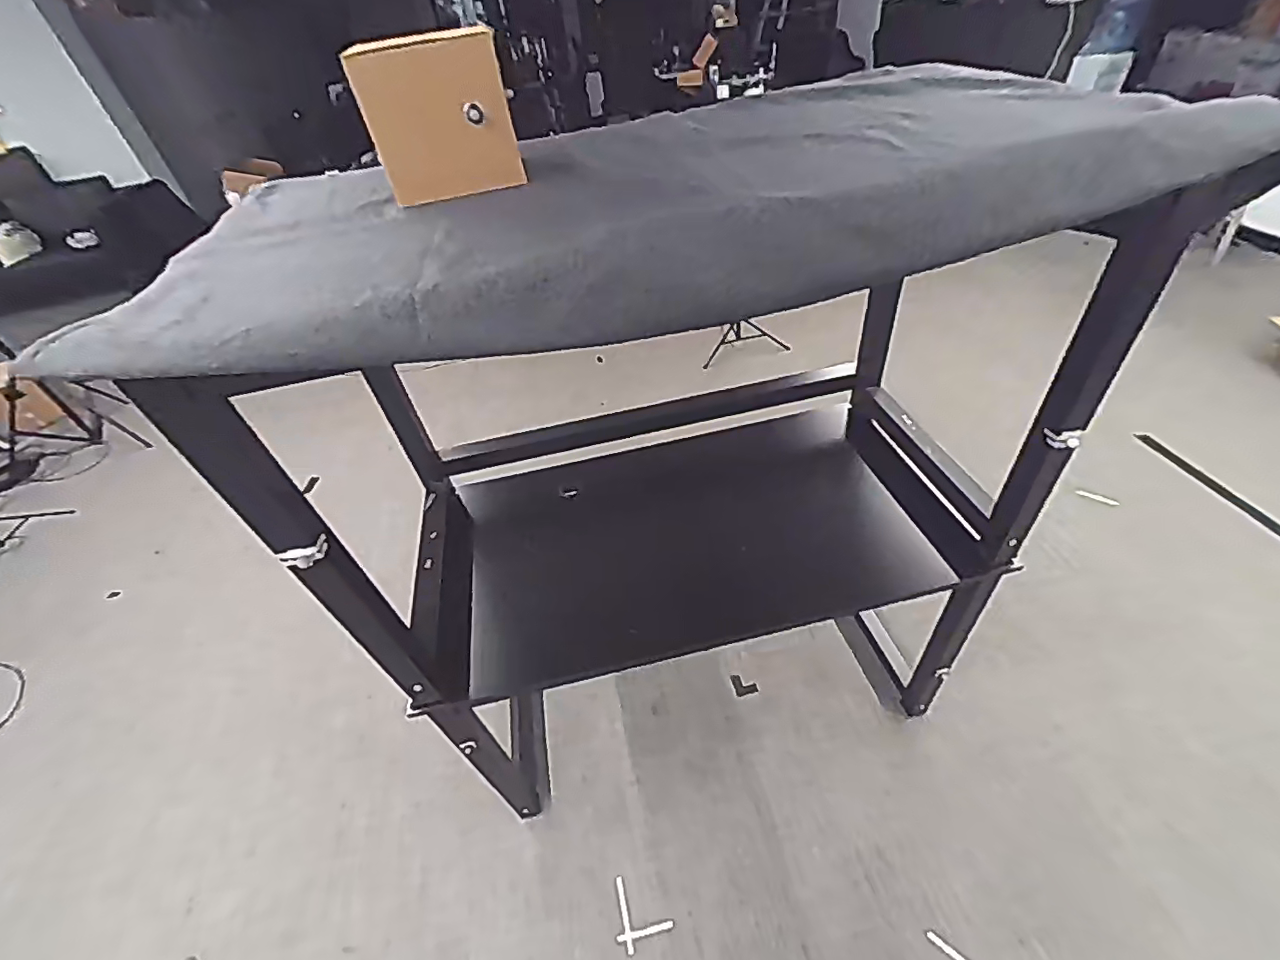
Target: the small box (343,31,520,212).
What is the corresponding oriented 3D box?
[{"bbox_3d":[-0.268,-0.489,0.737,0.179,0.176,0.168,-15,44,-7],"label":"small box"}]
